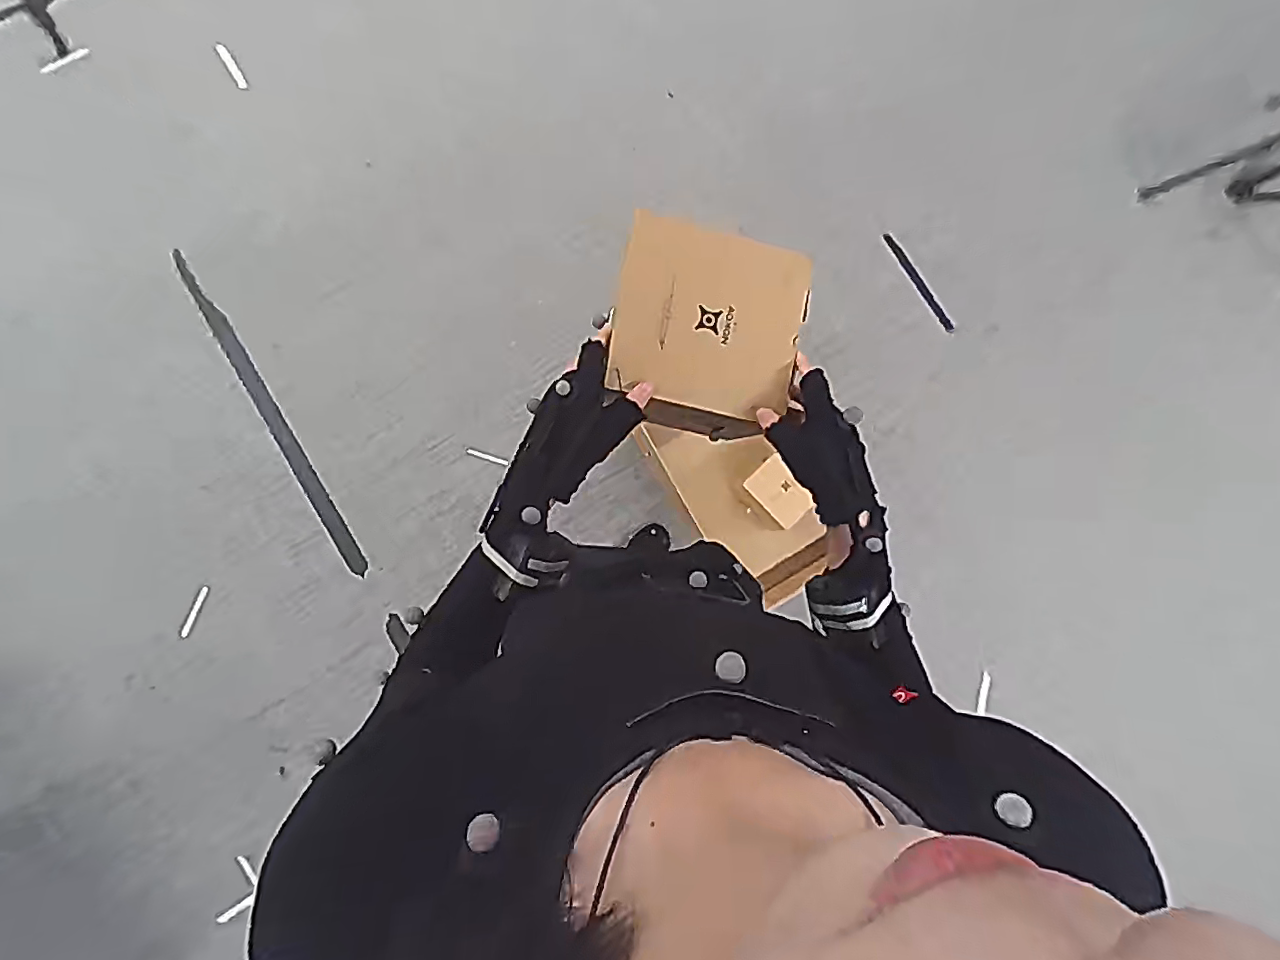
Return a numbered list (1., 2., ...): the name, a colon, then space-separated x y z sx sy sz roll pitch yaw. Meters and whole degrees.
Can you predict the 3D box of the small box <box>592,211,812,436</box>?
1. small box: 0.052 -0.144 0.567 0.179 0.176 0.168 9 87 -8
